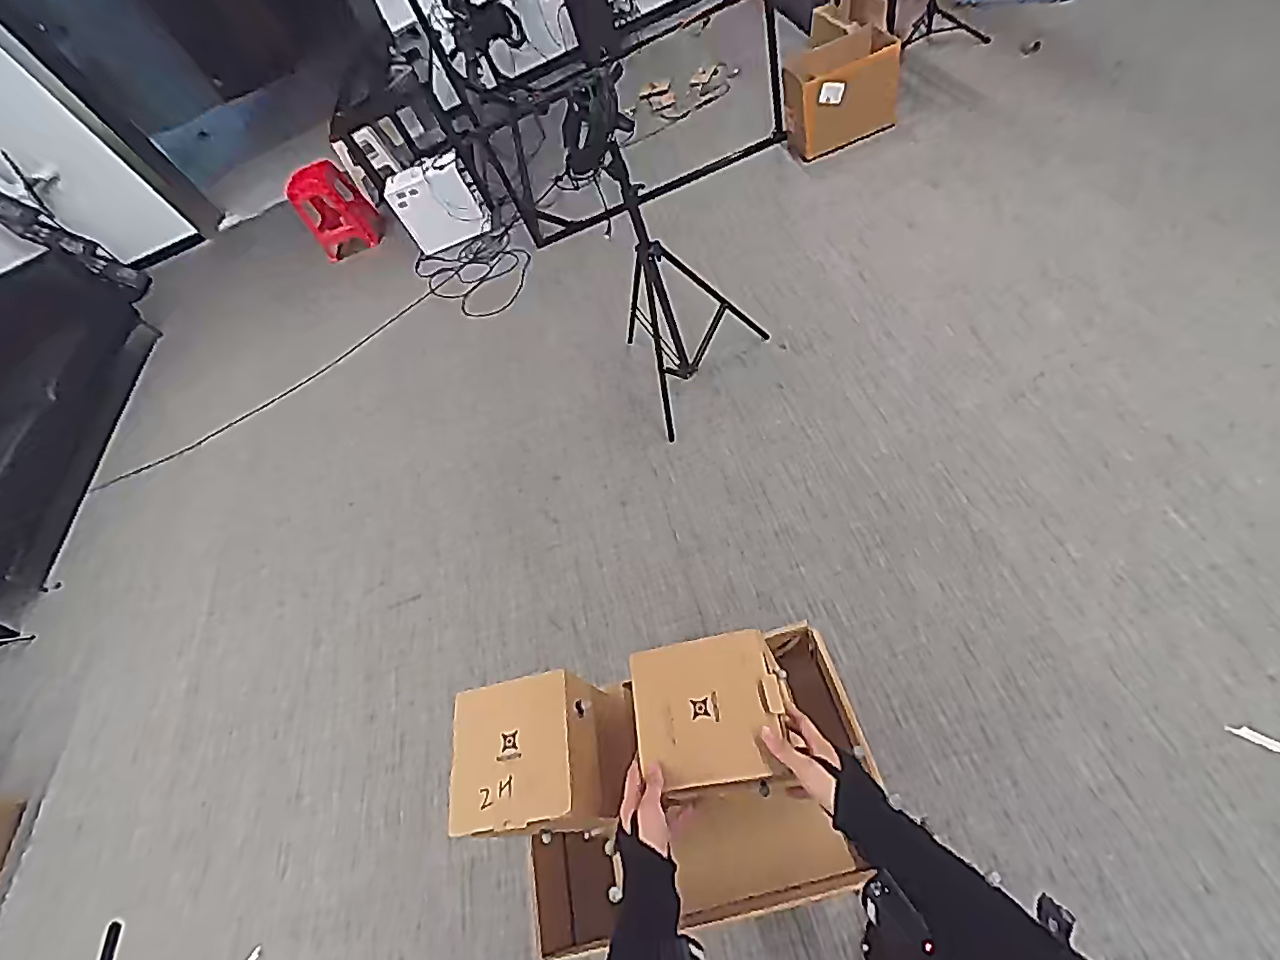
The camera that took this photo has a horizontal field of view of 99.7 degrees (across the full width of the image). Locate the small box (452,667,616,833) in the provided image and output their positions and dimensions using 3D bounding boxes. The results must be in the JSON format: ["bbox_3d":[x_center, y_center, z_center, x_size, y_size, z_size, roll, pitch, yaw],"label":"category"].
[{"bbox_3d":[-0.142,0.386,0.763,0.168,0.176,0.179,-16,55,9],"label":"small box"}]

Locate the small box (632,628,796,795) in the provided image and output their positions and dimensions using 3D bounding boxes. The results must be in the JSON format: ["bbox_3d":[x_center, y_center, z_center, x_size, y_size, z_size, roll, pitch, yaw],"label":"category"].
[{"bbox_3d":[0.102,0.314,0.720,0.179,0.176,0.168,-15,55,11],"label":"small box"}]
